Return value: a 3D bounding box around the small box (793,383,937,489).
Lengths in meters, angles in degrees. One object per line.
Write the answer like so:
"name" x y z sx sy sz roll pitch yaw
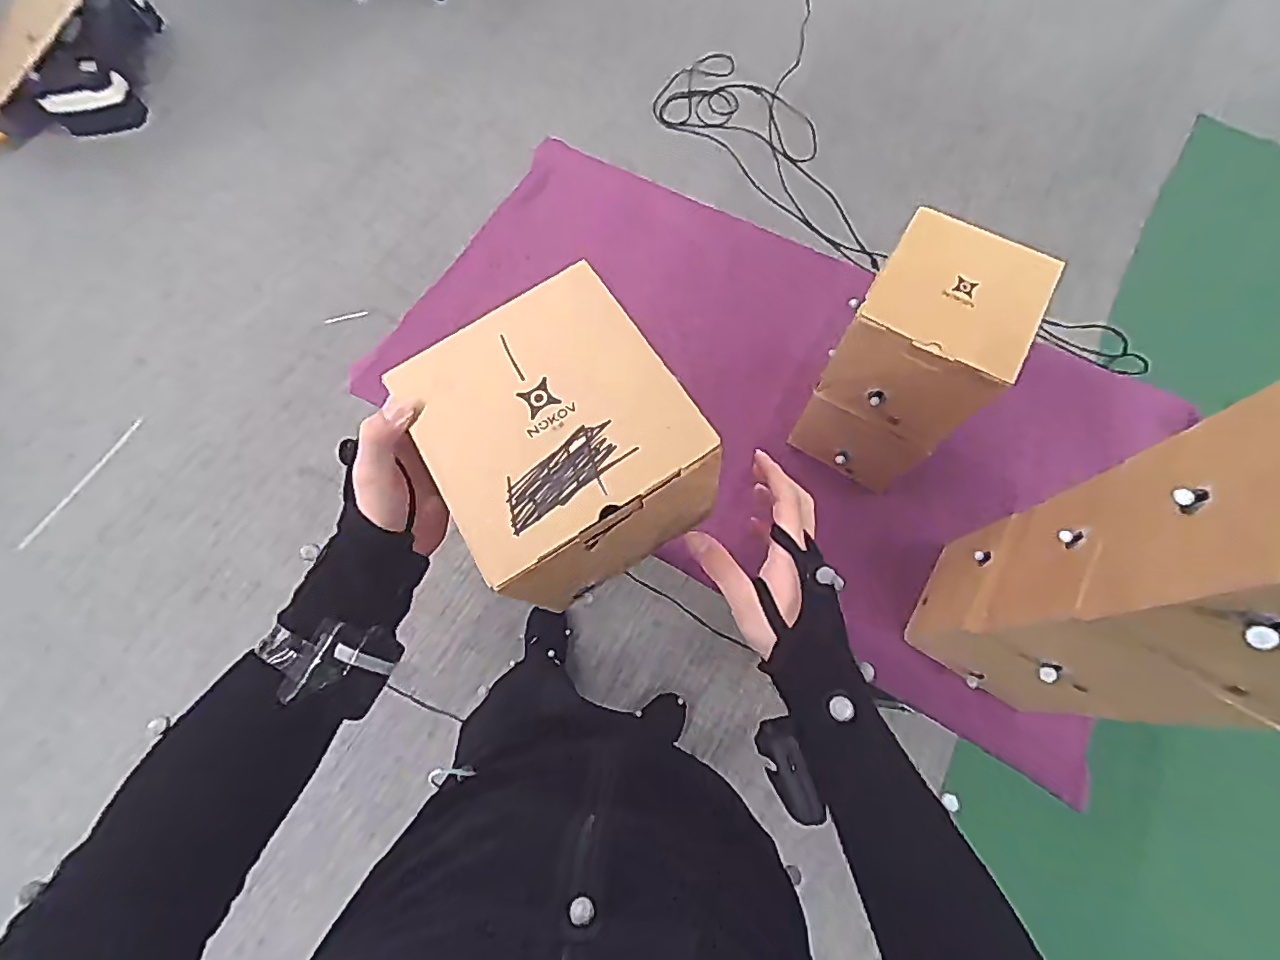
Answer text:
"small box" 0.350 -0.117 0.802 0.168 0.176 0.179 32 74 12

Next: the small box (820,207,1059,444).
"small box" 0.342 -0.175 0.651 0.168 0.176 0.179 30 75 10

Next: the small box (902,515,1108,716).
"small box" 0.481 0.174 0.697 0.179 0.176 0.168 32 73 12

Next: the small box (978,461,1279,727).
"small box" 0.483 0.116 0.543 0.168 0.176 0.179 31 73 13
